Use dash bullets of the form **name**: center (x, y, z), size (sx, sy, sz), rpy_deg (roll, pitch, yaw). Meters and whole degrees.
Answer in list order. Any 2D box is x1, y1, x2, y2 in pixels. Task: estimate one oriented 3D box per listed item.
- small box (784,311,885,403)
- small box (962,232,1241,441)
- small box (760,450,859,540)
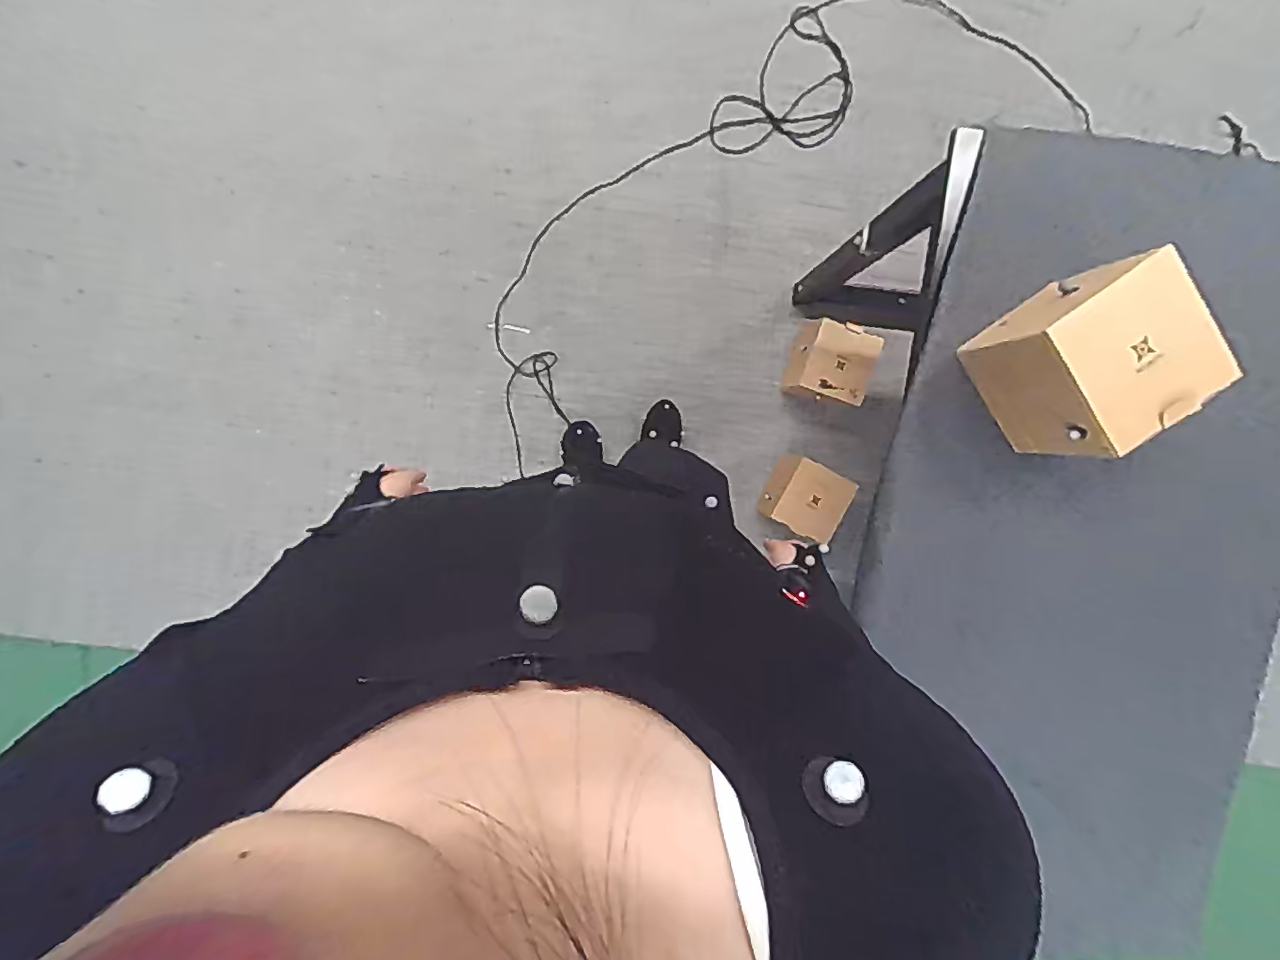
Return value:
- **small box**: center (0.489, -0.308, 1.390), size (0.168, 0.176, 0.179), rpy_deg (19, 94, -3)
- **small box**: center (0.553, -0.163, 0.676), size (0.168, 0.176, 0.179), rpy_deg (-35, 96, 2)
- **small box**: center (0.433, 0.032, 1.424), size (0.168, 0.176, 0.179), rpy_deg (27, 93, -5)
